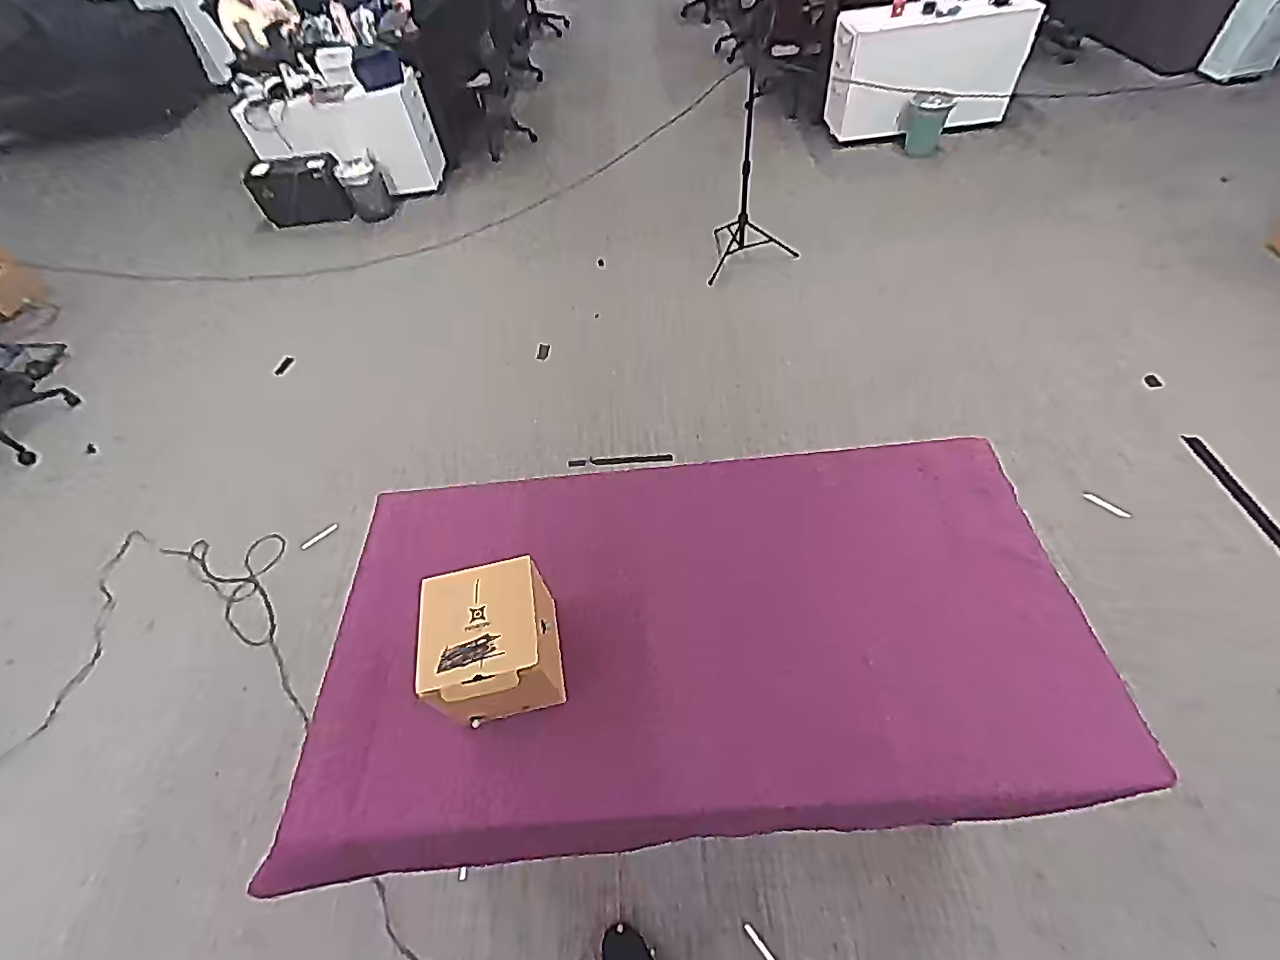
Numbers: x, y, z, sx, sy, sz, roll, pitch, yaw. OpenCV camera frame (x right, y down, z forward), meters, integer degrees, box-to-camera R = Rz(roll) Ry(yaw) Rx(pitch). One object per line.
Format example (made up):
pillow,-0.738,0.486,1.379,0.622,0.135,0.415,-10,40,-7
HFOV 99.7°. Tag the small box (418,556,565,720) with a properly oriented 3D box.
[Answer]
small box,-0.215,0.244,0.813,0.168,0.176,0.179,-12,51,-3
